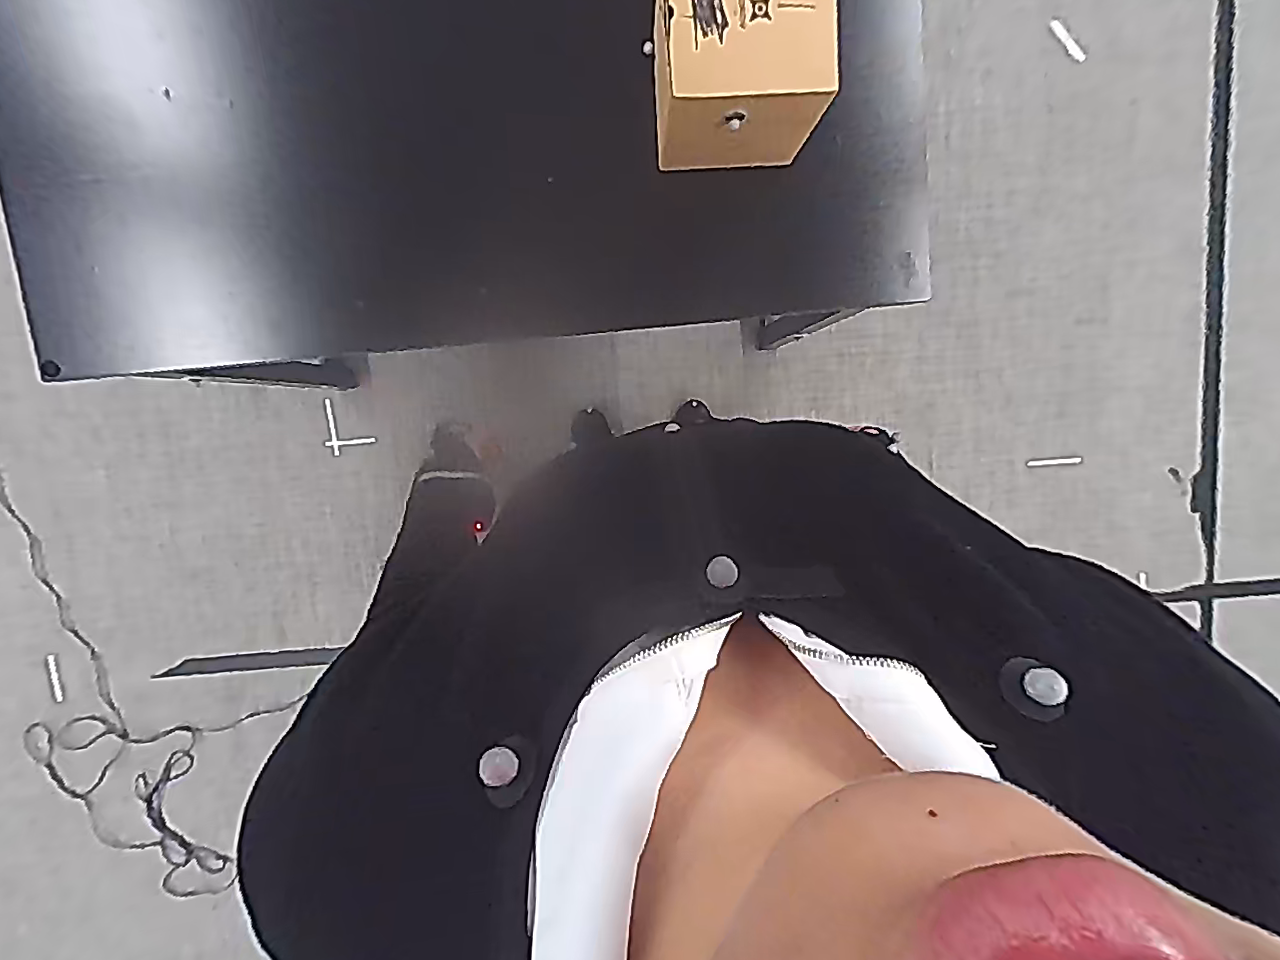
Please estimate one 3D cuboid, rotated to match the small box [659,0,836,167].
[{"bbox_3d":[0.113,-0.491,0.634,0.179,0.176,0.168,-3,97,-2],"label":"small box"}]
